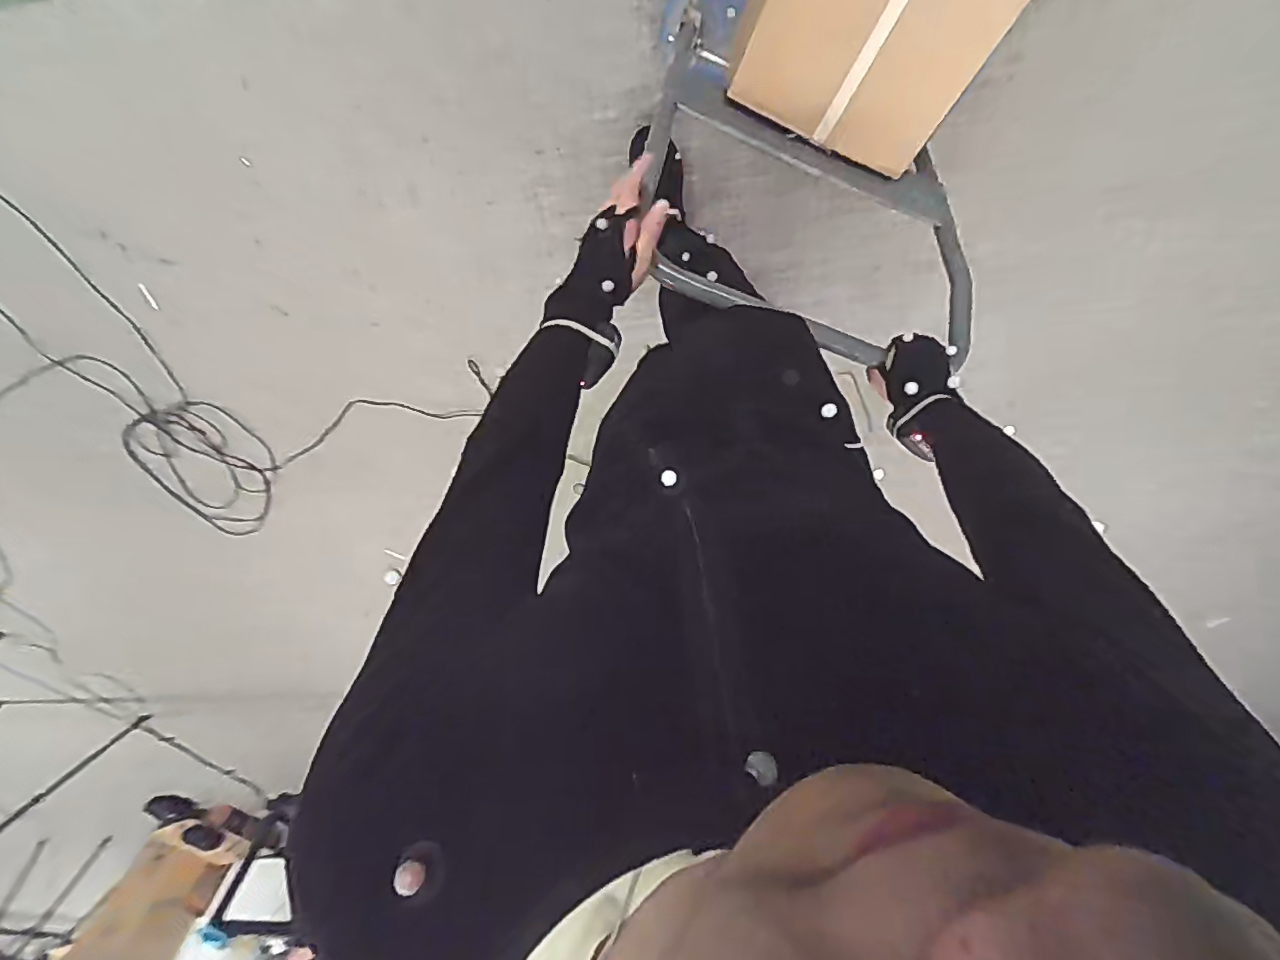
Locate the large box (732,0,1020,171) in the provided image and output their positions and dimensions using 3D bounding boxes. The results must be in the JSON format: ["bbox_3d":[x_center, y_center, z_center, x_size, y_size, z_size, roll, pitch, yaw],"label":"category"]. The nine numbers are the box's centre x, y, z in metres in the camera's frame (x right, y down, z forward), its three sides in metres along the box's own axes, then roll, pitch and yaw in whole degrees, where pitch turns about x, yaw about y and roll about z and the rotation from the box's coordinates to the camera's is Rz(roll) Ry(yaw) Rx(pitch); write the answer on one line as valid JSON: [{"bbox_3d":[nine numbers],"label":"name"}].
[{"bbox_3d":[0.362,-0.766,0.787,0.320,0.320,0.408,18,141,-11],"label":"large box"}]
